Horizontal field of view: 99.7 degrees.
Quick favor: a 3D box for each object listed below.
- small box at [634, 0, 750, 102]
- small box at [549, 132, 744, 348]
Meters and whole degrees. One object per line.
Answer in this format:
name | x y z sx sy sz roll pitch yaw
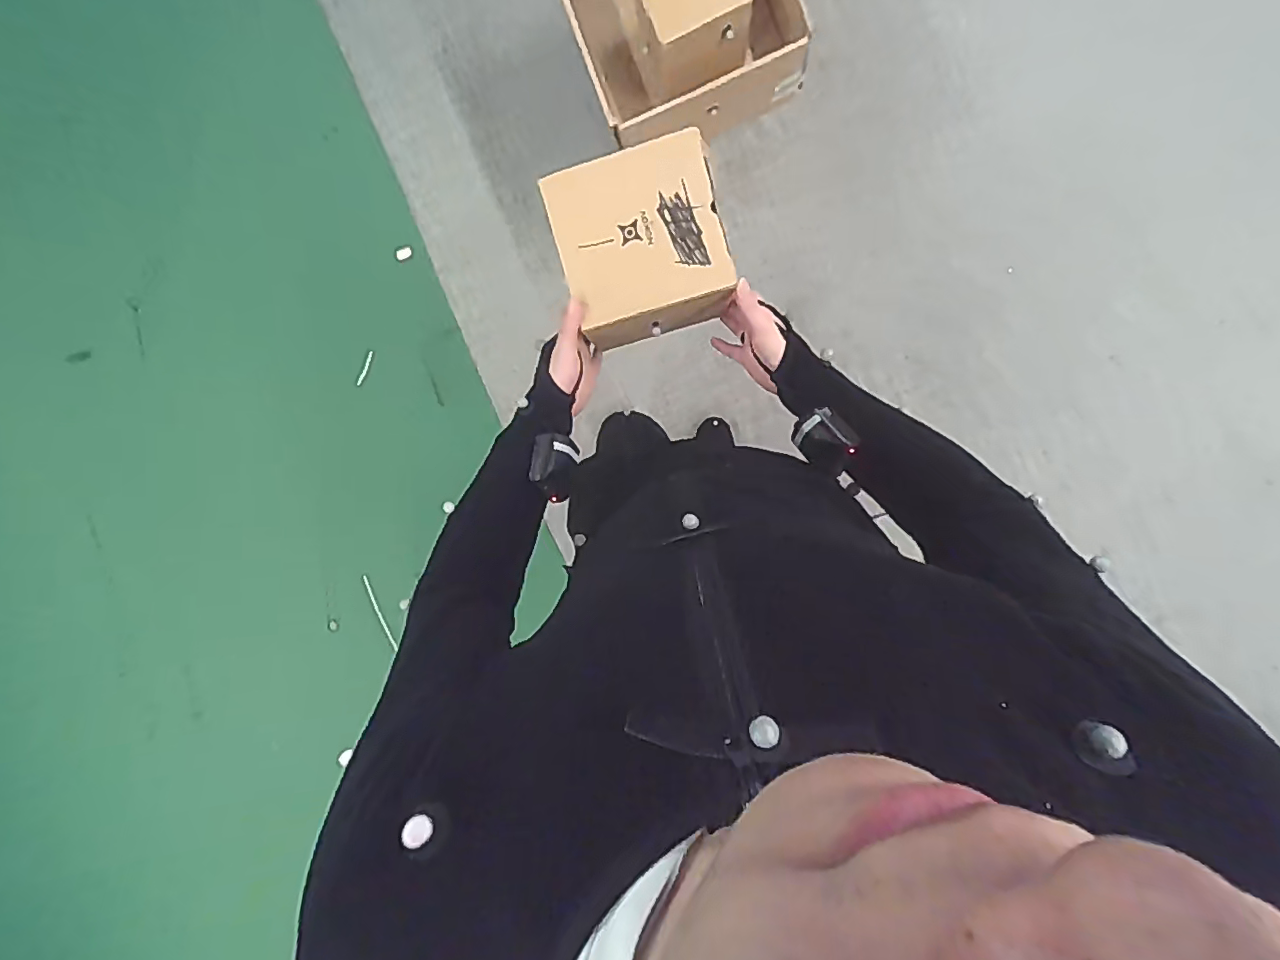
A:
small box | 0.093 -0.880 1.033 0.179 0.176 0.168 -22 91 8
small box | 0.010 -0.266 0.643 0.179 0.176 0.168 -14 94 4
